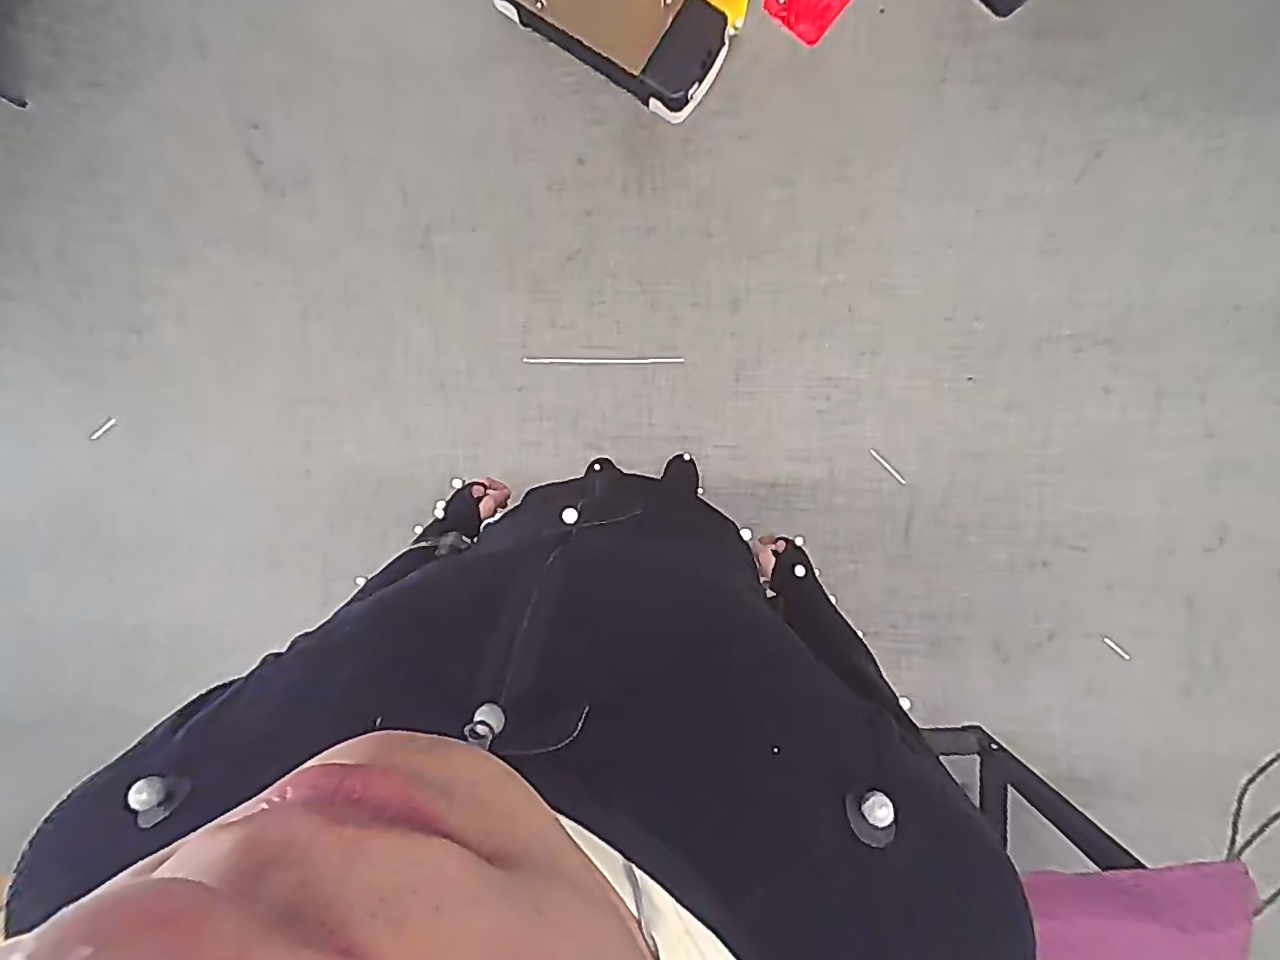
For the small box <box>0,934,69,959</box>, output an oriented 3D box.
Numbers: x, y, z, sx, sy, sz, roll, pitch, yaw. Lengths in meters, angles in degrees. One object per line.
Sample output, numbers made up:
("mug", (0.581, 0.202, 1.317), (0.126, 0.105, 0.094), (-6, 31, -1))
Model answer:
("small box", (-1.470, 1.178, 1.225), (0.179, 0.176, 0.168), (3, 91, 1))
